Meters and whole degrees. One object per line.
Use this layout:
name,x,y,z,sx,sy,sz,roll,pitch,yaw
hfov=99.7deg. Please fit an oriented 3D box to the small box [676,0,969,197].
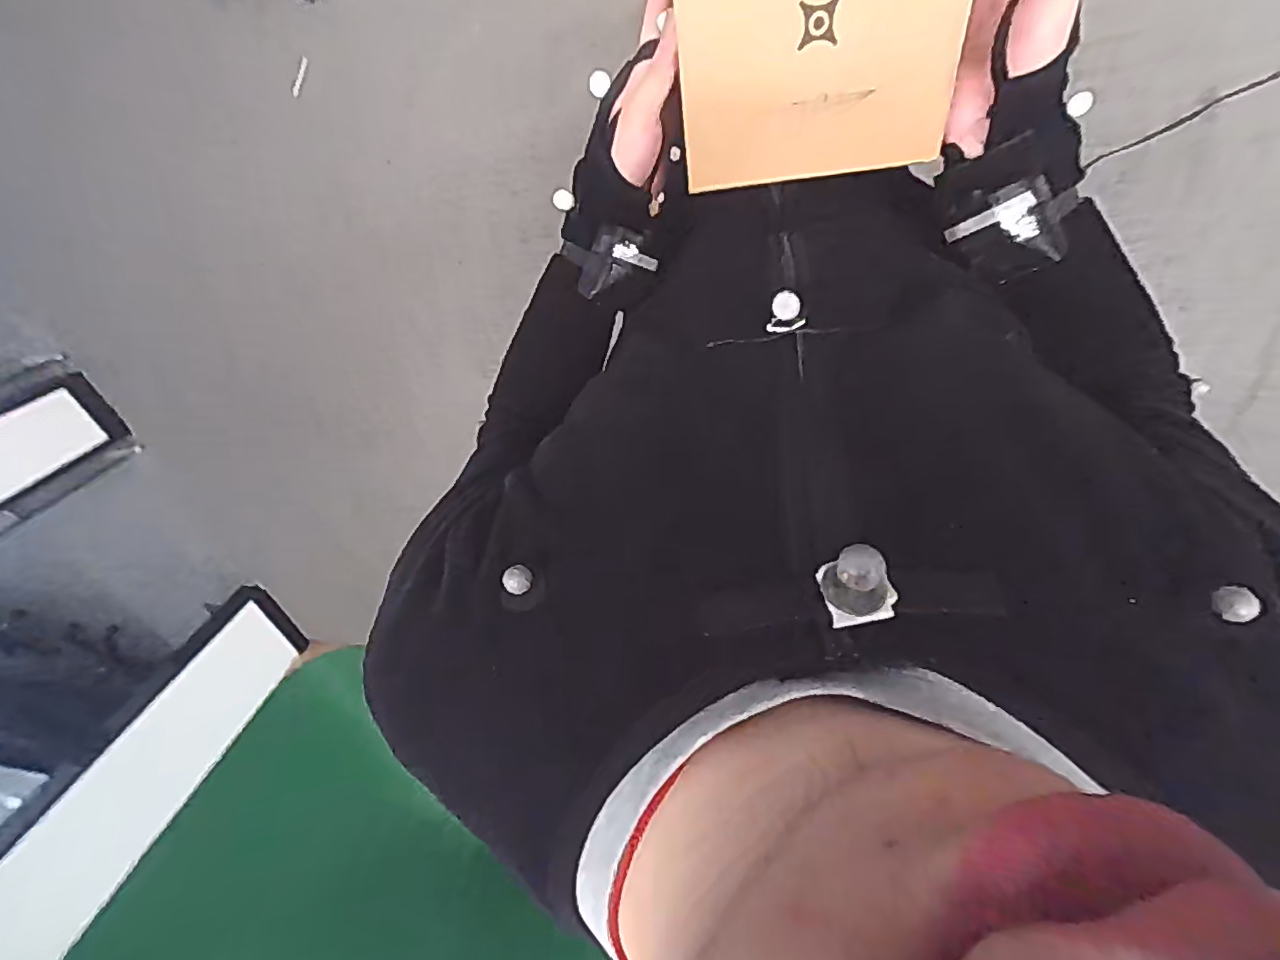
small box,0.110,-0.323,0.368,0.168,0.176,0.179,-1,139,10
